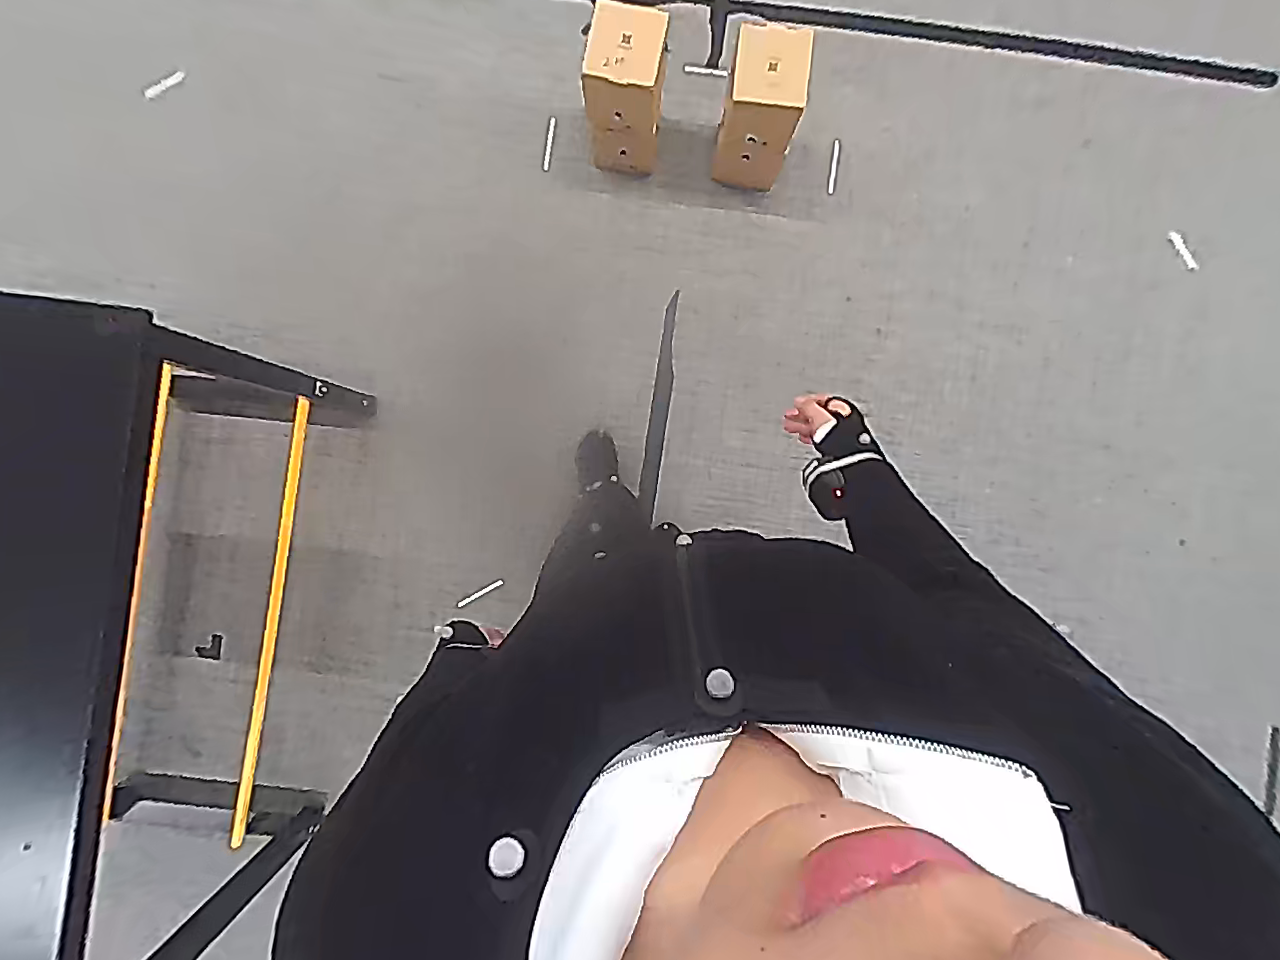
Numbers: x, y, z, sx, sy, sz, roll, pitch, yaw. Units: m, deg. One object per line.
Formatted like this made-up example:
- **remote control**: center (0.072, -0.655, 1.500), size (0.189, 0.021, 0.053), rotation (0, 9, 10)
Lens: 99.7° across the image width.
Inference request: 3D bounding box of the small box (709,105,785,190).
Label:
- **small box**: center (0.289, -0.905, 1.441), size (0.179, 0.176, 0.168), rotation (10, 89, -2)

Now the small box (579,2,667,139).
- **small box**: center (-0.039, -0.951, 1.270), size (0.168, 0.176, 0.179), rotation (12, 89, 0)

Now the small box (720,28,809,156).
- **small box**: center (0.286, -0.909, 1.279), size (0.168, 0.176, 0.179), rotation (5, 91, 1)

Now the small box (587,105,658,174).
- **small box**: center (-0.043, -0.946, 1.436), size (0.168, 0.176, 0.179), rotation (7, 90, 0)
